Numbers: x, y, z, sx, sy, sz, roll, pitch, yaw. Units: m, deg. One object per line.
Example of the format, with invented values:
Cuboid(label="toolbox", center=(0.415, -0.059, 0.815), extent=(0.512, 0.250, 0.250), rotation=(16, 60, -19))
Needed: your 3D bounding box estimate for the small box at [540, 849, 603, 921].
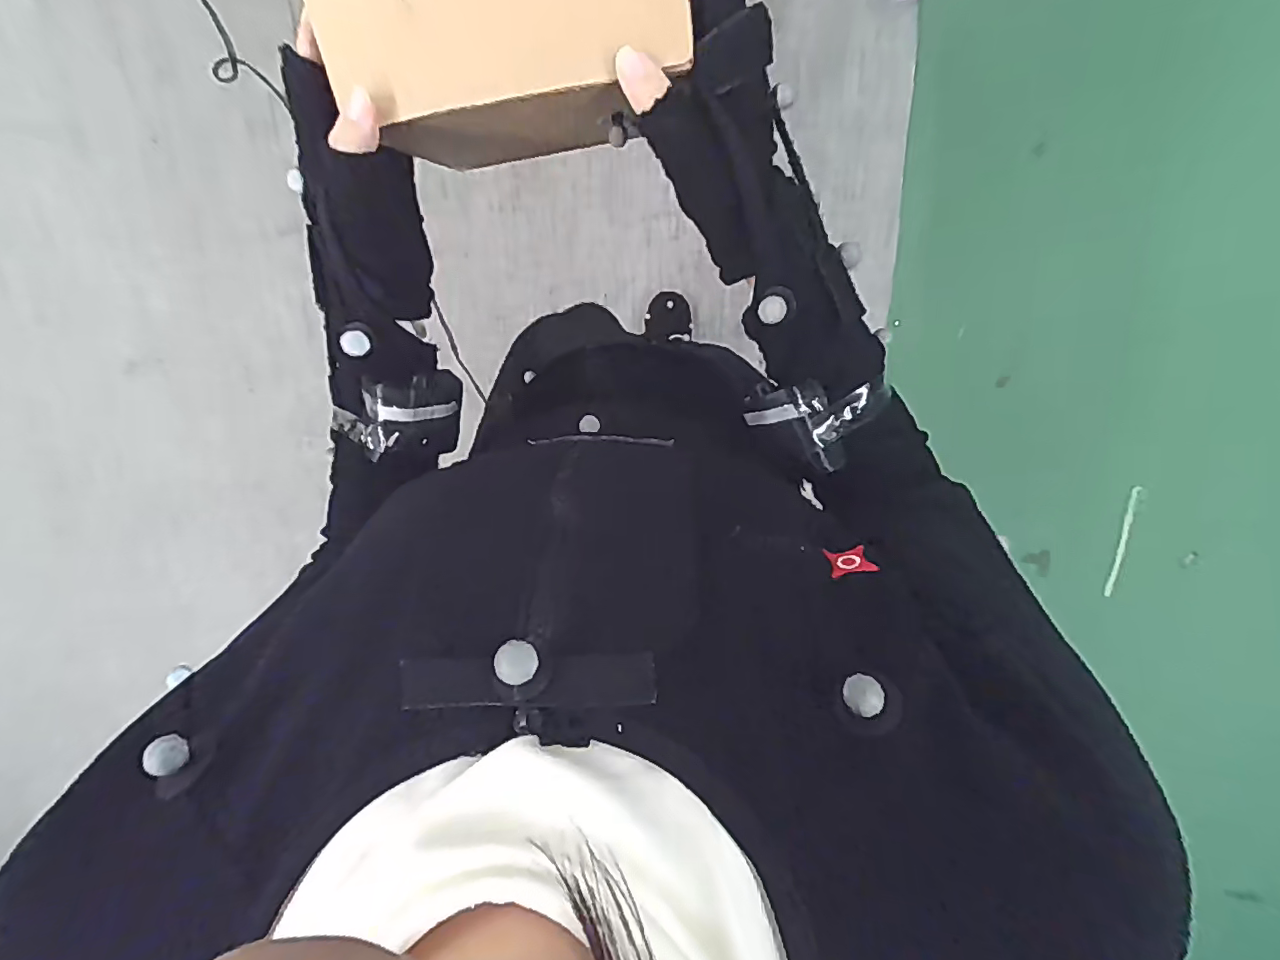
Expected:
Cuboid(label="small box", center=(-0.227, 1.388, 1.832), extent=(0.179, 0.176, 0.168), rotation=(-2, 107, 5))

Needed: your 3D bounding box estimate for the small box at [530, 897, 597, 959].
Cuboid(label="small box", center=(-0.234, 1.438, 1.677), extent=(0.179, 0.176, 0.168), rotation=(2, 108, 3))
